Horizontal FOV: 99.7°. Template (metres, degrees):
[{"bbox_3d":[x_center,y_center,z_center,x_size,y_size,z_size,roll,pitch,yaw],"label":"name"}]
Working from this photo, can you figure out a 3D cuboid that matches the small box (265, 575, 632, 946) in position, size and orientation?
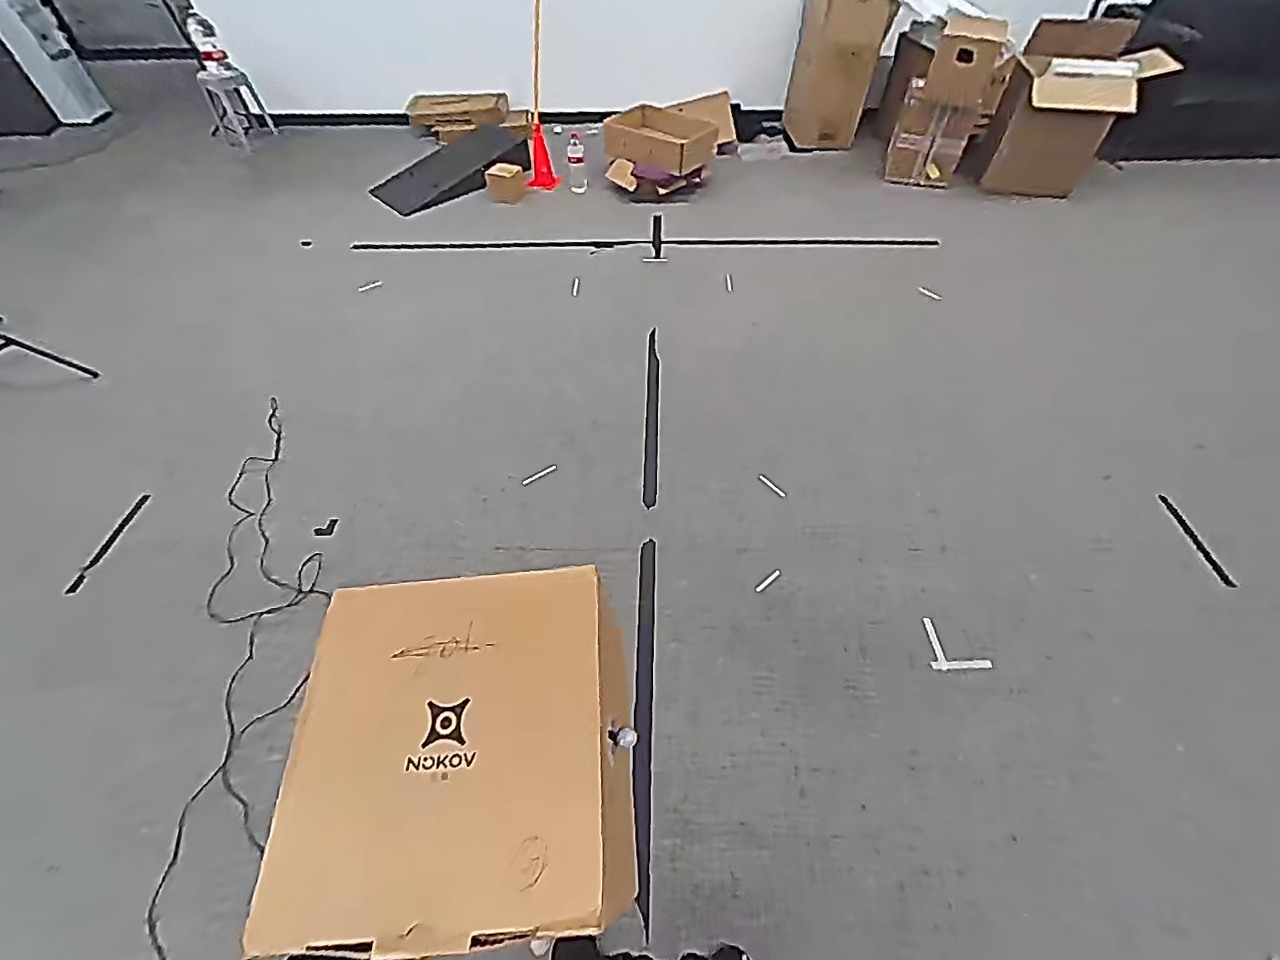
[{"bbox_3d":[-0.096,0.182,0.364,0.168,0.176,0.179,-5,56,1],"label":"small box"}]
